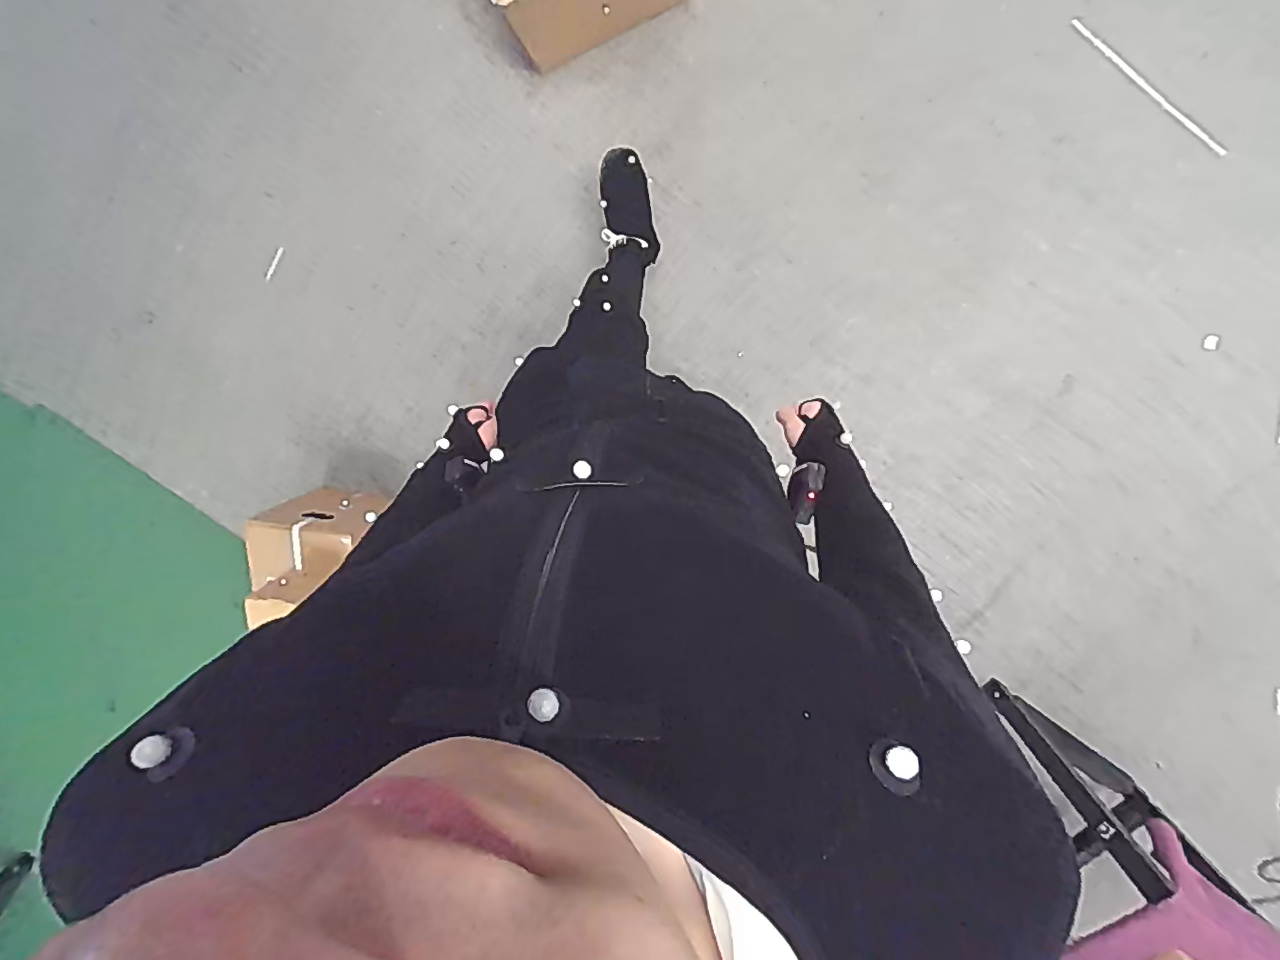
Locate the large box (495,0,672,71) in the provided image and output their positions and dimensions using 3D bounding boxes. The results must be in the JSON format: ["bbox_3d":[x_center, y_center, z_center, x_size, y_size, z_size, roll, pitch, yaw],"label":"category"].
[{"bbox_3d":[-0.138,-1.183,1.147,0.408,0.320,0.320,-19,102,12],"label":"large box"}]

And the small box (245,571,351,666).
[{"bbox_3d":[-0.884,0.356,1.414,0.168,0.176,0.179,6,107,4],"label":"small box"}]

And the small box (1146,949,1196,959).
[{"bbox_3d":[1.020,1.005,0.973,0.179,0.176,0.168,34,107,-6],"label":"small box"}]
